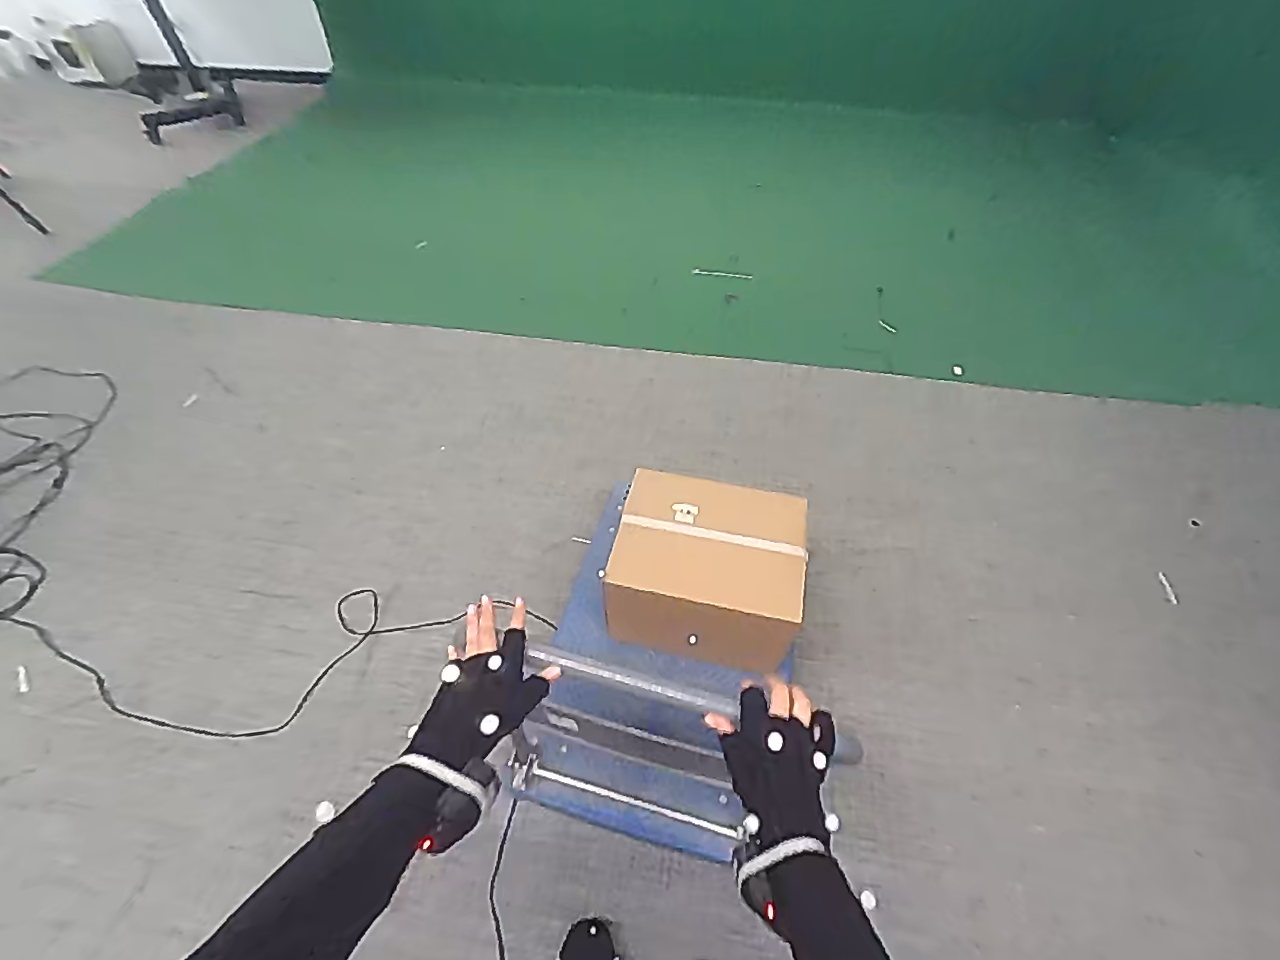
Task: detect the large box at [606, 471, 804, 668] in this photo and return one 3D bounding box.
[{"bbox_3d":[0.156,0.217,1.297,0.408,0.320,0.320,10,51,8],"label":"large box"}]
